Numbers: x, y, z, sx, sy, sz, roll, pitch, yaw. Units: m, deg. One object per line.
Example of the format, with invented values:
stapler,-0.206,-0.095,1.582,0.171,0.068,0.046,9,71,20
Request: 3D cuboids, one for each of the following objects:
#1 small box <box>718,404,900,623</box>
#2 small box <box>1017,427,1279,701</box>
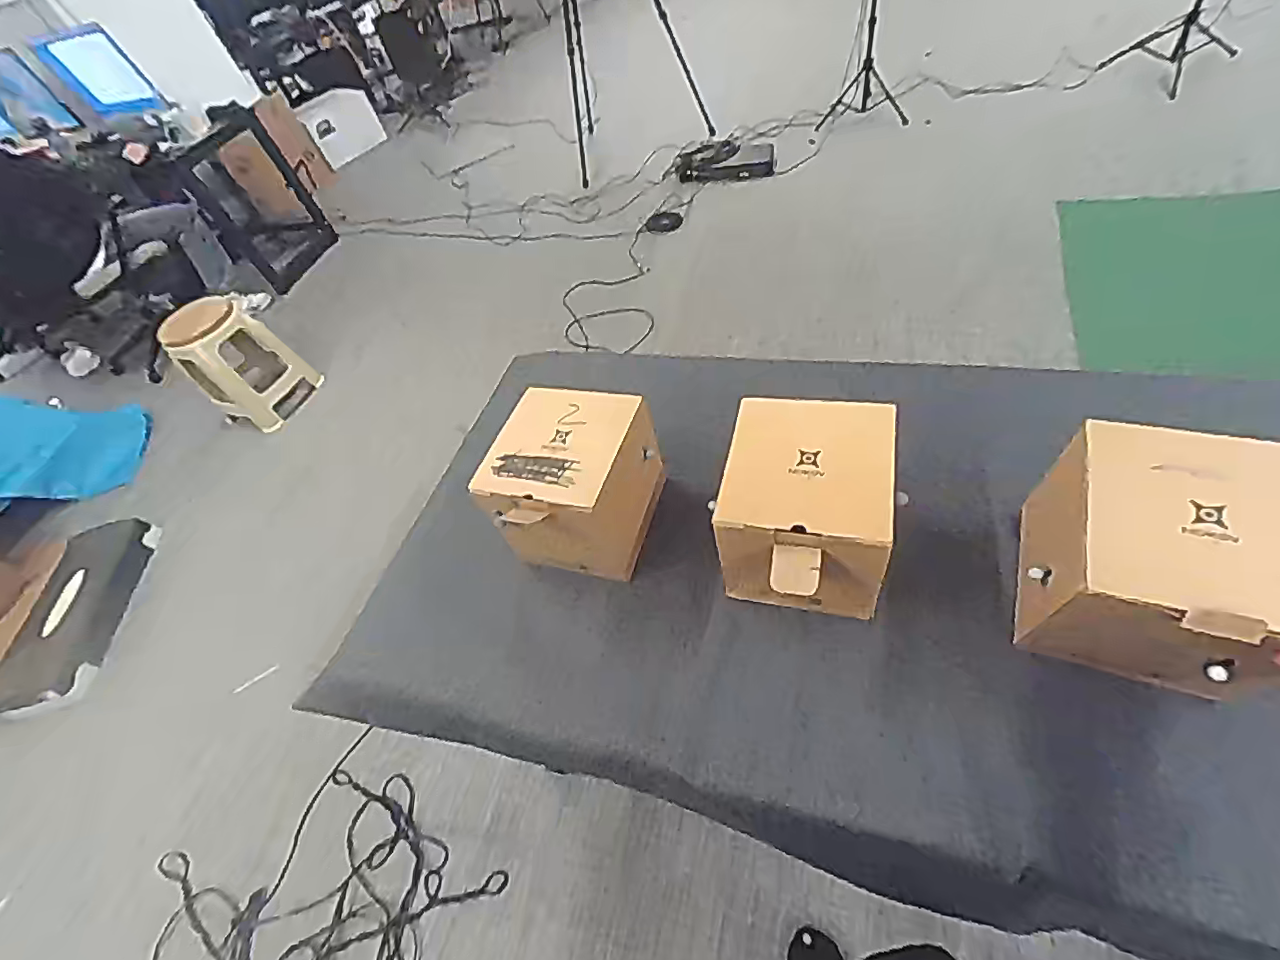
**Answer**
small box,0.191,0.037,0.615,0.168,0.176,0.179,6,55,19
small box,0.470,0.080,0.495,0.168,0.176,0.179,12,61,21
